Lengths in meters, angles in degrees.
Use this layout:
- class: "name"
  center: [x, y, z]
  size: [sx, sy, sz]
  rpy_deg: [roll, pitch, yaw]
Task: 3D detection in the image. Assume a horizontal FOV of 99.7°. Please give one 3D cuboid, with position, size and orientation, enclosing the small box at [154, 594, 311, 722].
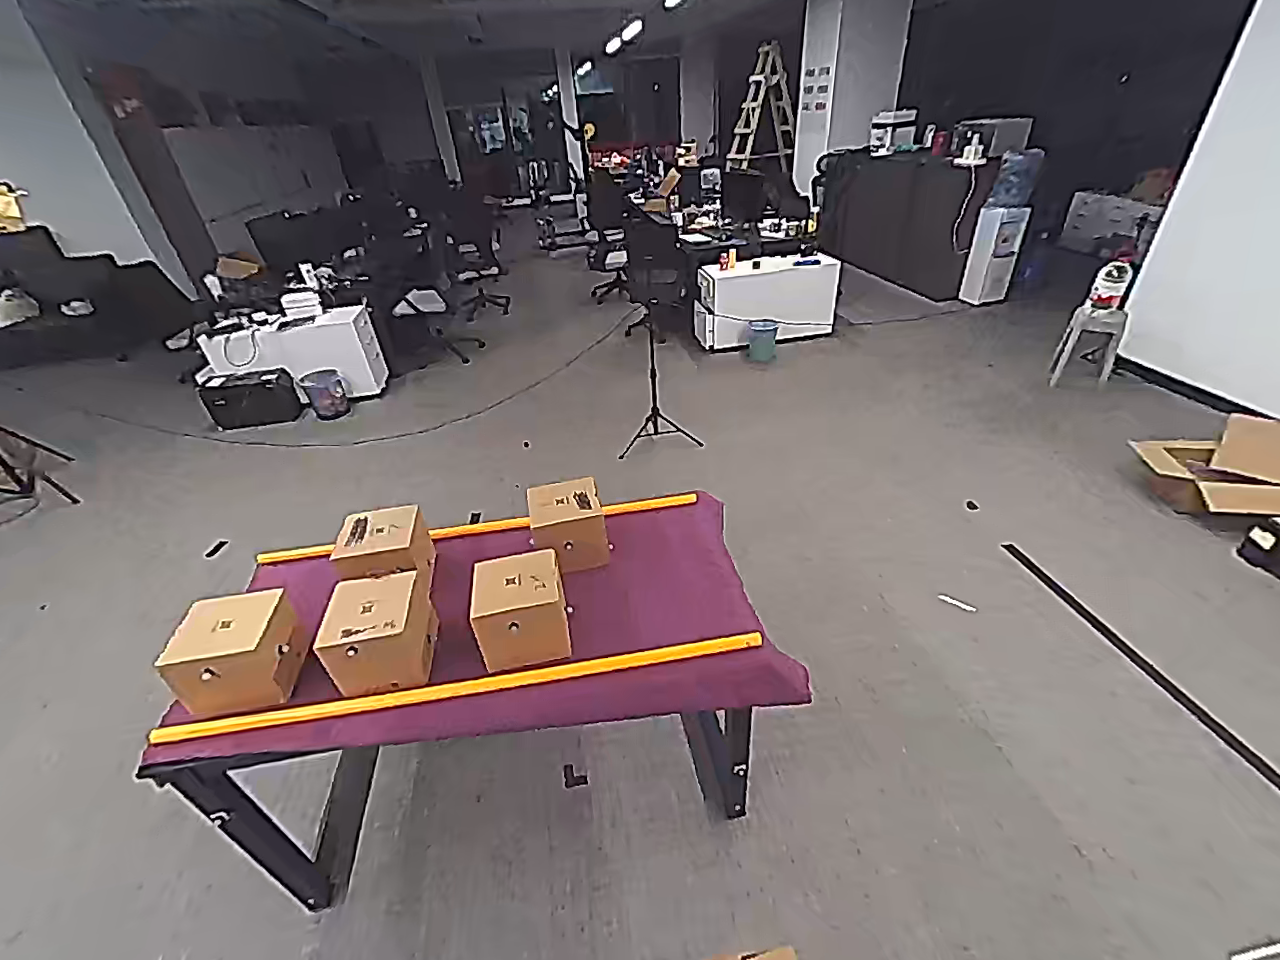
- class: "small box"
  center: [-0.810, 0.362, 1.103]
  size: [0.179, 0.176, 0.168]
  rpy_deg: [-9, 34, -7]

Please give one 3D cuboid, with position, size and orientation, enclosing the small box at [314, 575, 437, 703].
- class: "small box"
  center: [-0.532, 0.326, 1.121]
  size: [0.168, 0.176, 0.179]
  rpy_deg: [-9, 34, -5]

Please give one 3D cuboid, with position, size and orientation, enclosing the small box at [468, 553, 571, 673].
- class: "small box"
  center: [-0.251, 0.282, 1.146]
  size: [0.179, 0.176, 0.168]
  rpy_deg: [-10, 33, -7]

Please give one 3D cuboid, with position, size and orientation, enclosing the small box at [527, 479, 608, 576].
- class: "small box"
  center: [-0.181, 0.124, 1.370]
  size: [0.179, 0.176, 0.168]
  rpy_deg: [-11, 36, -7]
